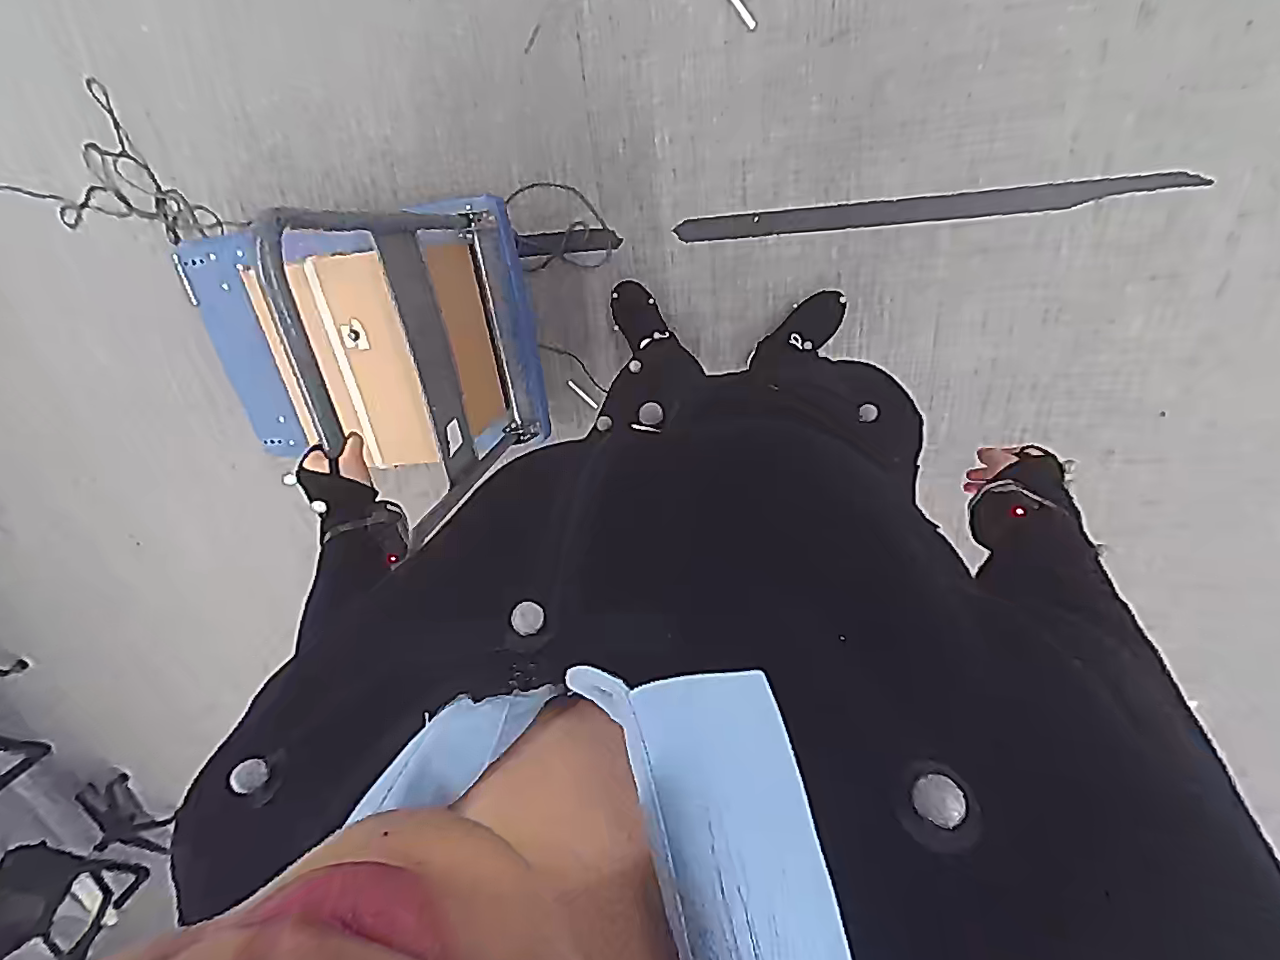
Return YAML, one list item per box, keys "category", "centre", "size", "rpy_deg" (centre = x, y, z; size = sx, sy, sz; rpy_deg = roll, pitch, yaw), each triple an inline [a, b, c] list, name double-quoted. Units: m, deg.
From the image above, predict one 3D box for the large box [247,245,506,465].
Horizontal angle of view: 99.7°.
- category: "large box"
  centre: [-0.533, -0.277, 1.186]
  size: [0.320, 0.320, 0.408]
  rpy_deg: [-2, 114, 12]
